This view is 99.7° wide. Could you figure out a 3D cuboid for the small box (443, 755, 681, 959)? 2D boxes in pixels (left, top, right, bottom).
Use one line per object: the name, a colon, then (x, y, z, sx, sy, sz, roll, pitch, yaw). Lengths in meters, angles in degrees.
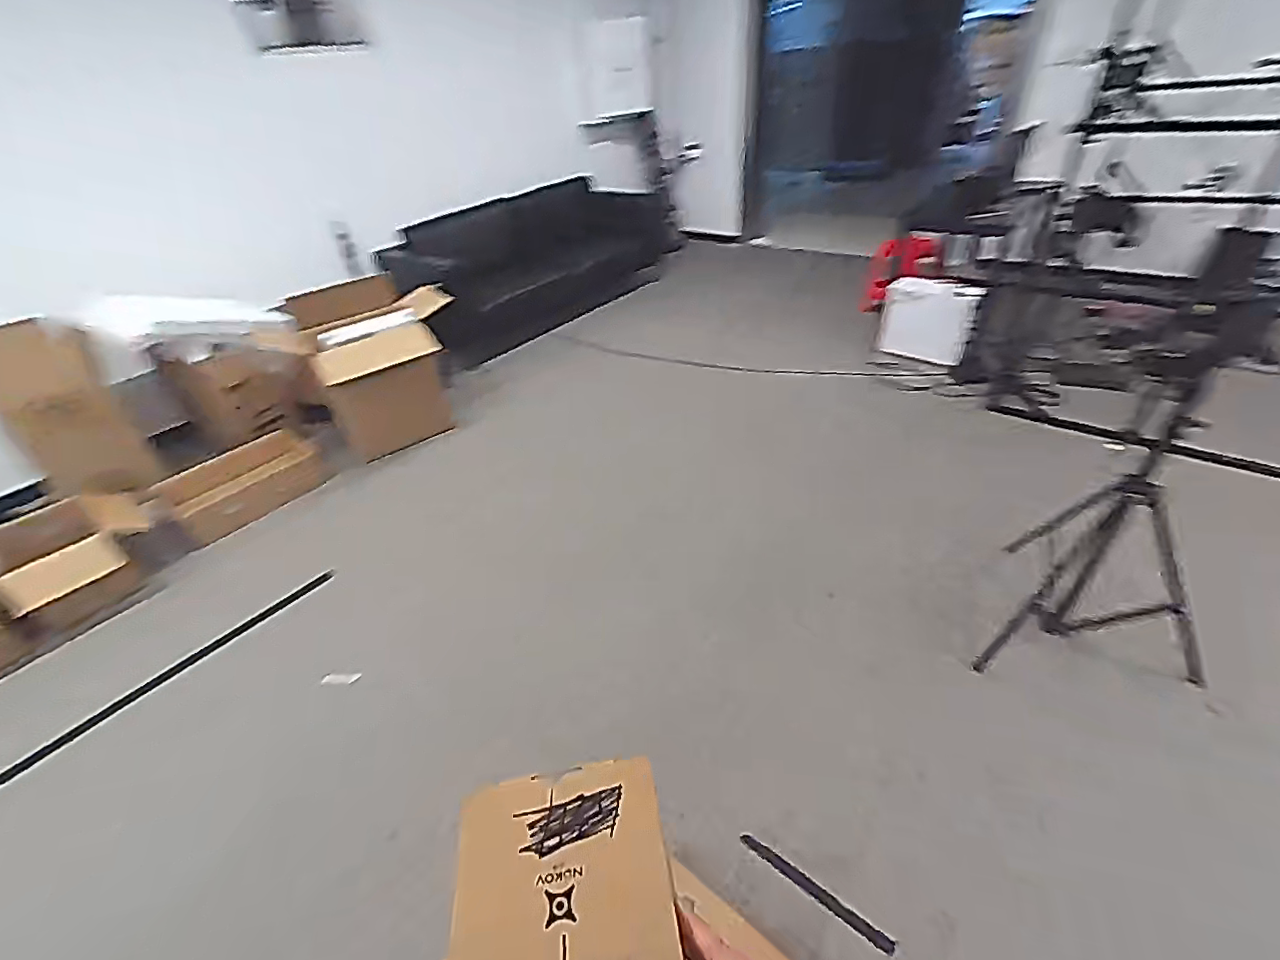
small box: (-0.056, 0.371, 0.457, 0.168, 0.176, 0.179, -11, 40, -4)
